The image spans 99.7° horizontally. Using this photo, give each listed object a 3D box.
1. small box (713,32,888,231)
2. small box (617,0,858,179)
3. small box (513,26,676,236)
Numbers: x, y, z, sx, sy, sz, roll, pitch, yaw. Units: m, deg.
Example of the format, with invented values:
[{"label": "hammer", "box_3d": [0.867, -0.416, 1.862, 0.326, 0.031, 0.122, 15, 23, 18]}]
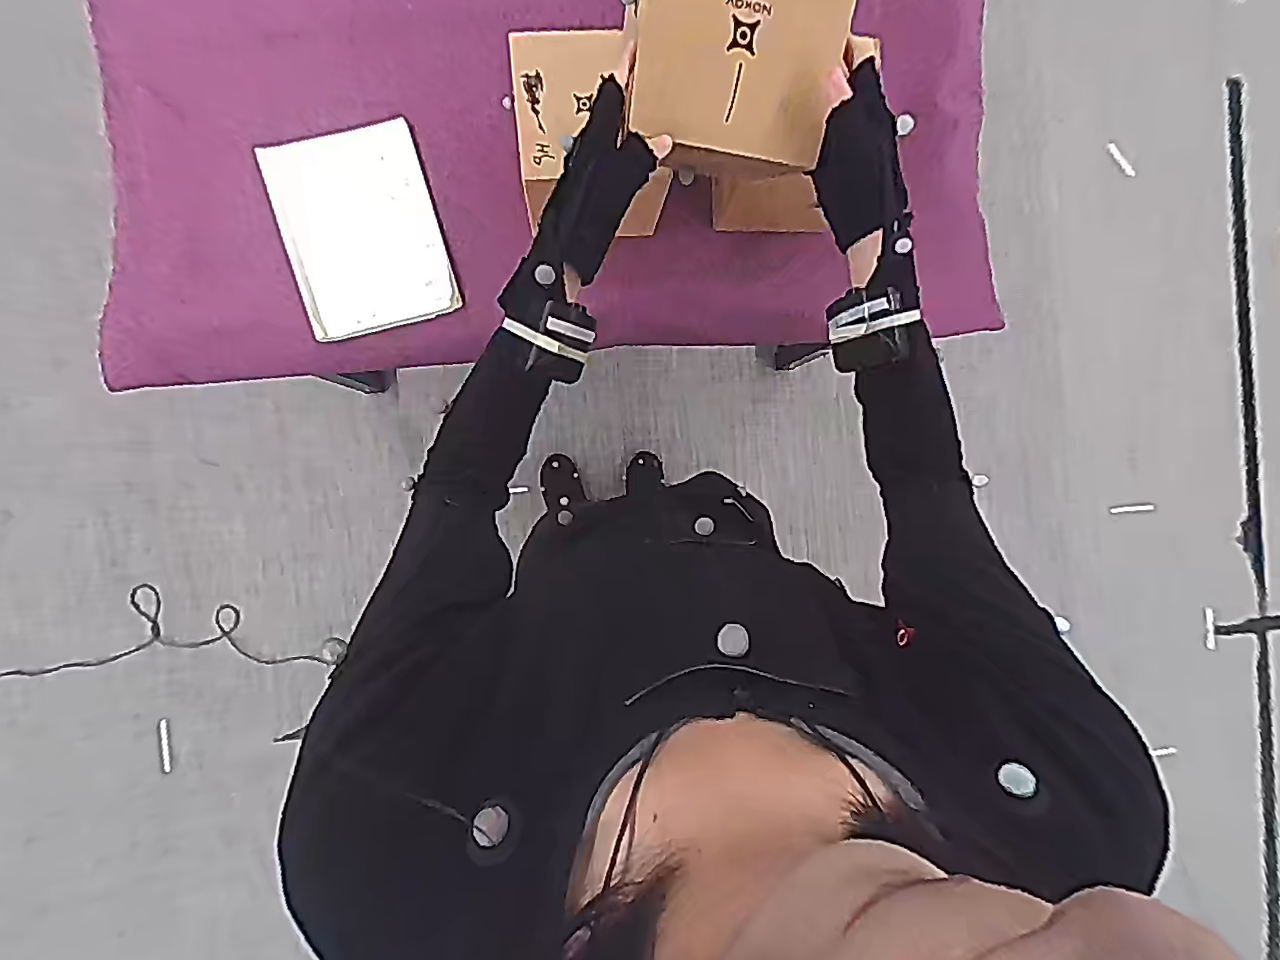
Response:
[{"label": "small box", "box_3d": [0.202, -0.450, 0.721, 0.179, 0.176, 0.168, -2, 89, -5]}, {"label": "small box", "box_3d": [0.074, -0.387, 0.480, 0.168, 0.176, 0.179, 5, 113, -9]}, {"label": "small box", "box_3d": [-0.061, -0.428, 0.691, 0.179, 0.176, 0.168, -5, 91, -7]}]
